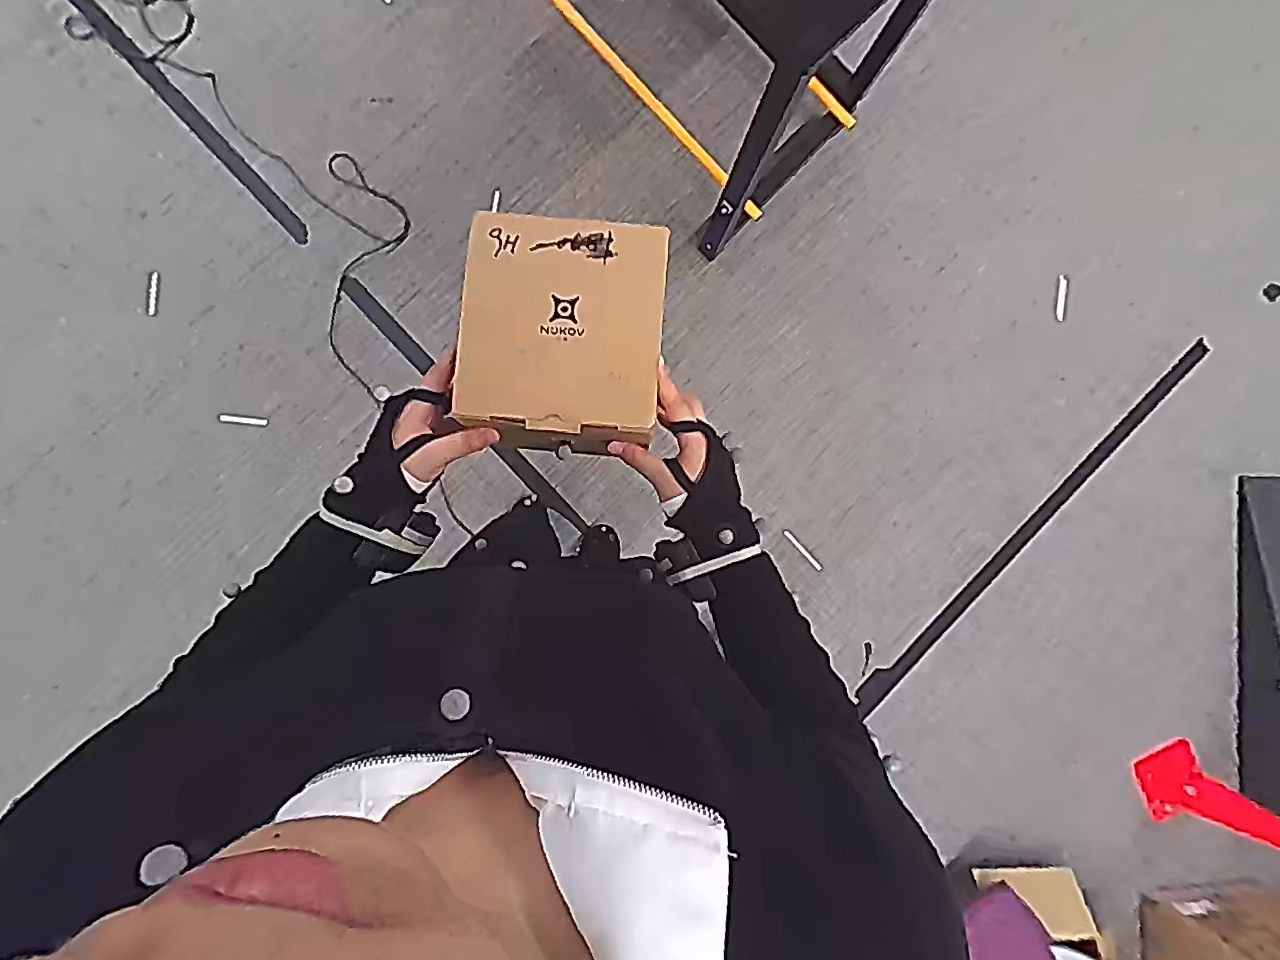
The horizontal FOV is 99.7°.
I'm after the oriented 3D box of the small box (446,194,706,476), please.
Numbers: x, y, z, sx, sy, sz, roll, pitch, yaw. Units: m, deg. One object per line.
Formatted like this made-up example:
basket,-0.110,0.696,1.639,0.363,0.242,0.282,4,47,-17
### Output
small box,-0.043,-0.096,0.437,0.168,0.176,0.179,3,86,-1
